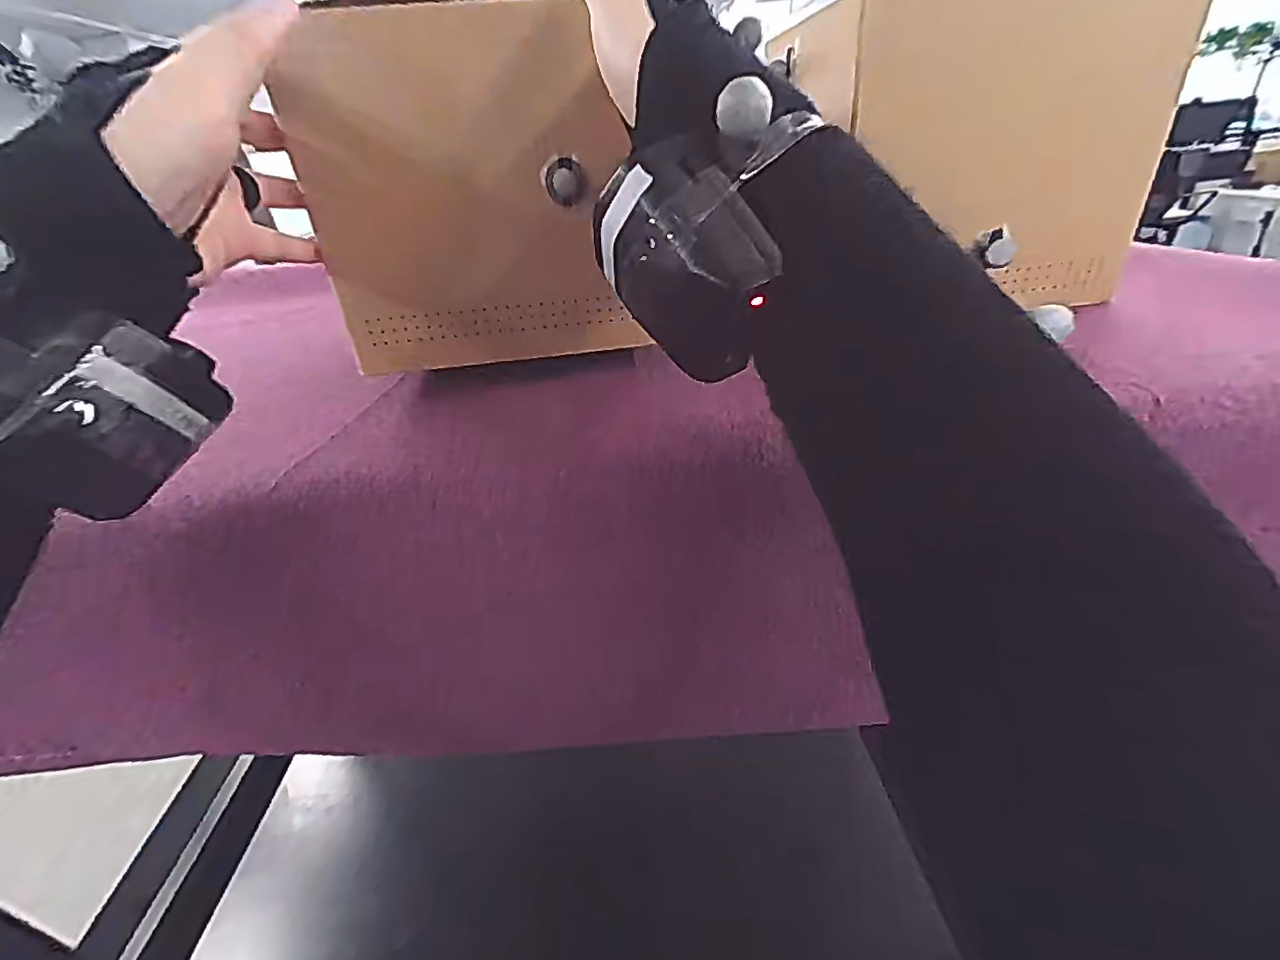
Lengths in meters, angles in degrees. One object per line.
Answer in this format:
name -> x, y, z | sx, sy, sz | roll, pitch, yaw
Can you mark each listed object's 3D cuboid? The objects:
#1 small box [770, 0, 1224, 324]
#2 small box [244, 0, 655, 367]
small box -> 0.192, -0.212, 0.354 | 0.179, 0.176, 0.168 | -7, 31, -1
small box -> -0.086, -0.179, 0.342 | 0.179, 0.176, 0.168 | -7, 28, -4
